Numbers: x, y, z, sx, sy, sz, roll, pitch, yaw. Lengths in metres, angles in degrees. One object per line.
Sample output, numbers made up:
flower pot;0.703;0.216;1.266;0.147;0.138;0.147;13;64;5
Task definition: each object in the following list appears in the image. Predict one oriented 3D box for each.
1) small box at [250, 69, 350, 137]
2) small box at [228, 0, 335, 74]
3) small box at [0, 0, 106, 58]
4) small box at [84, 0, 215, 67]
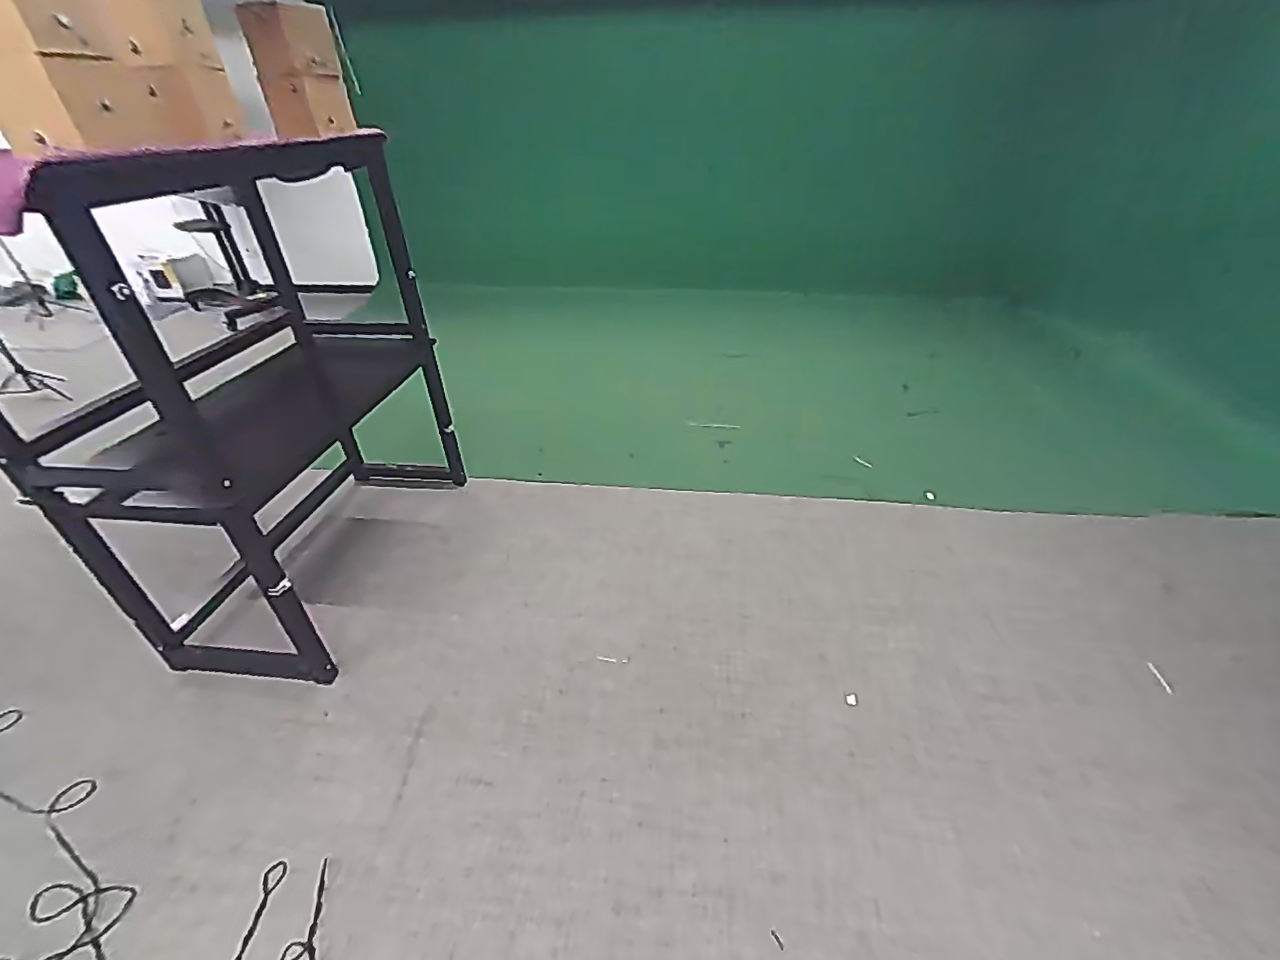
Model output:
small box;-1.053;-1.175;1.689;0.179;0.176;0.168;10;37;14
small box;-1.047;-1.306;1.593;0.179;0.176;0.168;13;39;16
small box;-1.145;-0.868;0.967;0.179;0.176;0.168;0;35;4
small box;-1.159;-1.075;1.265;0.179;0.176;0.168;2;35;4
